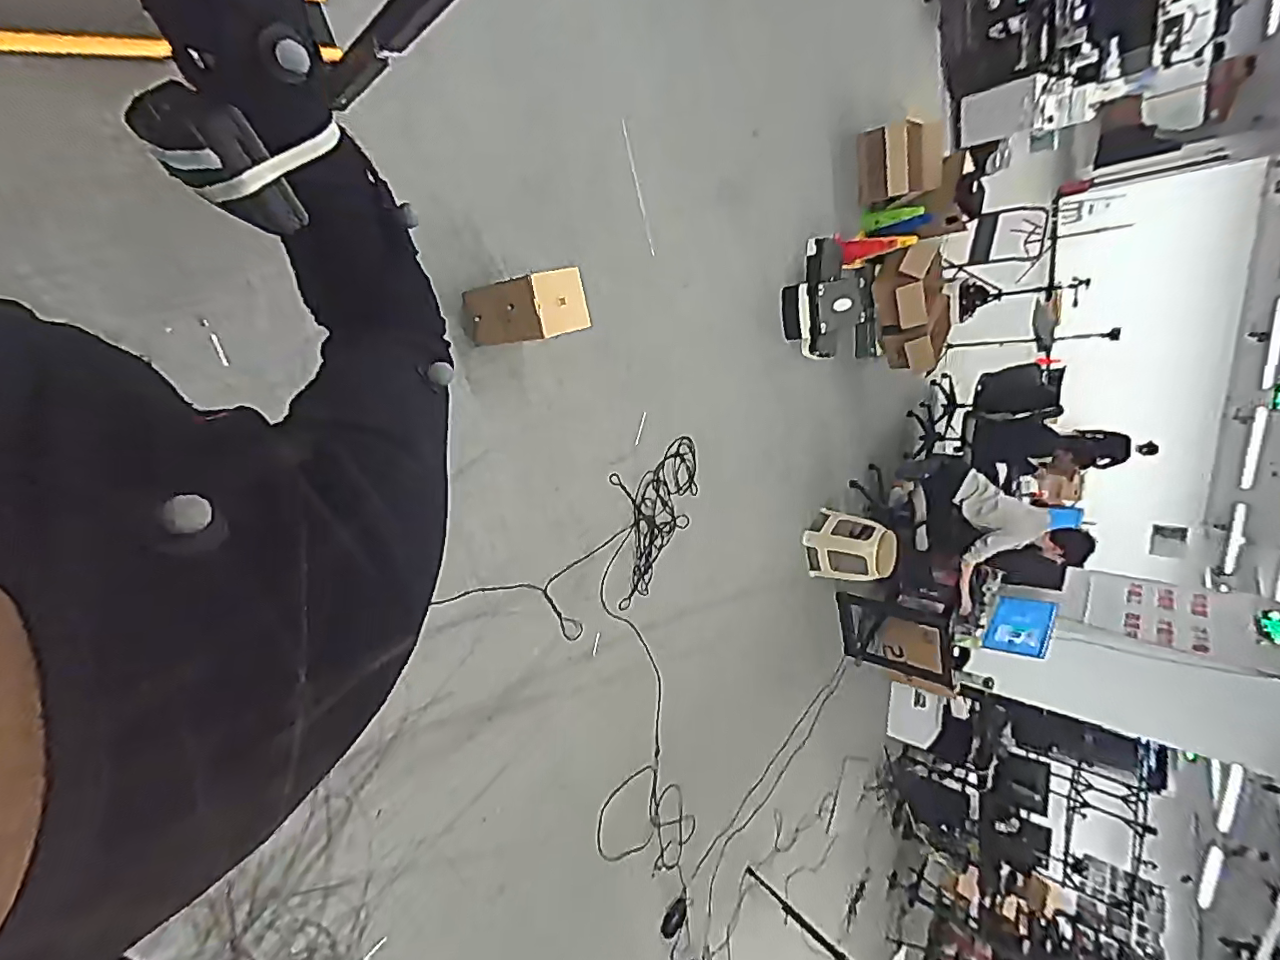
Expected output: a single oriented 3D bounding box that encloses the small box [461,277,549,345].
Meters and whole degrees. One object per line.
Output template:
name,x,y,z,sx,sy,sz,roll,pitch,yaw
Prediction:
small box,-0.407,-0.508,1.630,0.179,0.176,0.168,-28,115,-42
